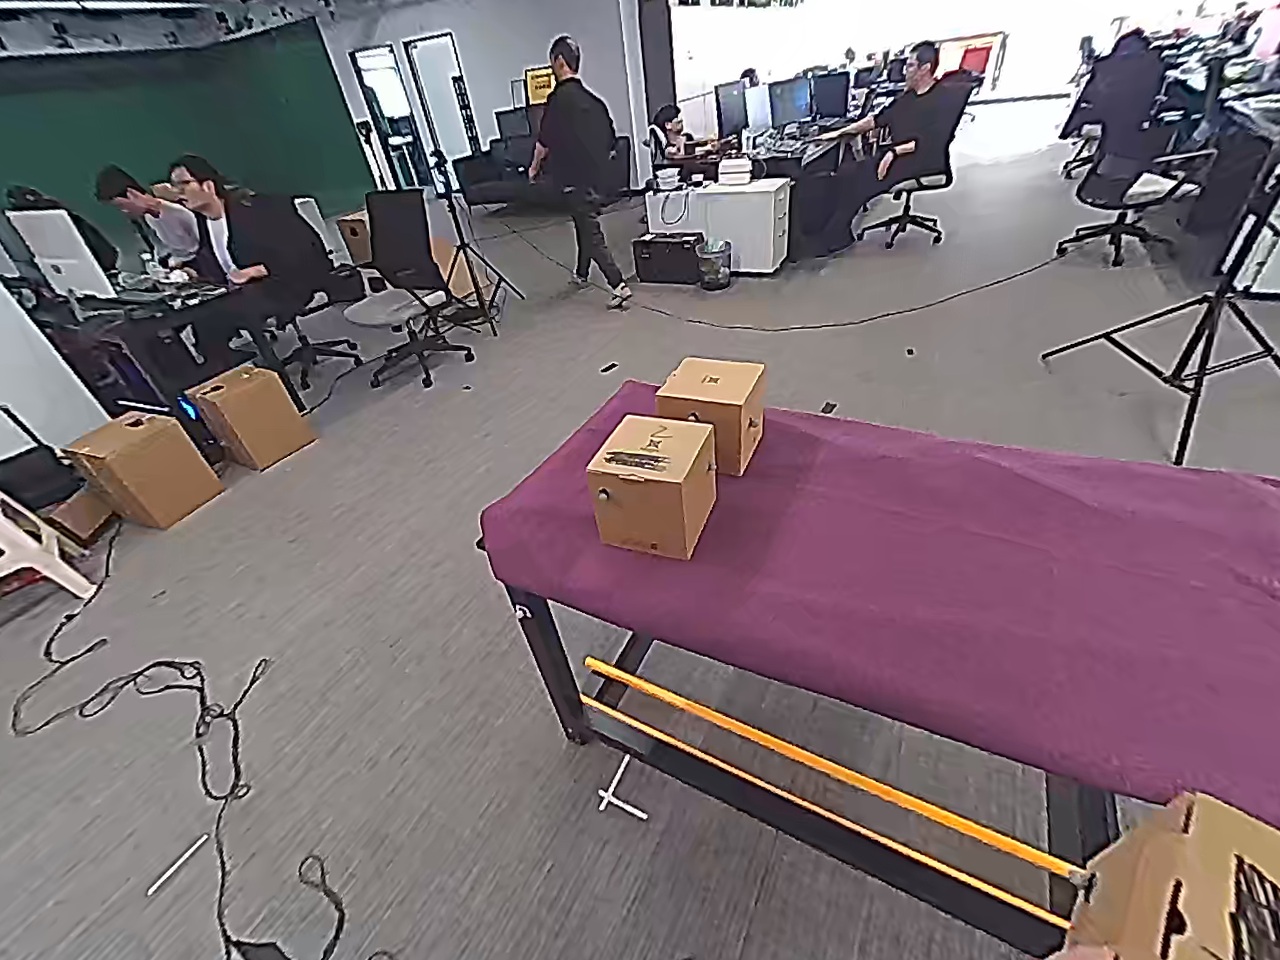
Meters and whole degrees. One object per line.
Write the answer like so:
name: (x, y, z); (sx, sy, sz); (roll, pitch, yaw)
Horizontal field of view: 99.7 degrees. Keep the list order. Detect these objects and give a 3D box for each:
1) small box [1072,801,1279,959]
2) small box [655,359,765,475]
small box: (0.365, 0.334, 0.303); (0.179, 0.176, 0.168); (27, 55, 35)
small box: (0.148, -0.128, 1.109); (0.179, 0.176, 0.168); (11, 41, 23)
